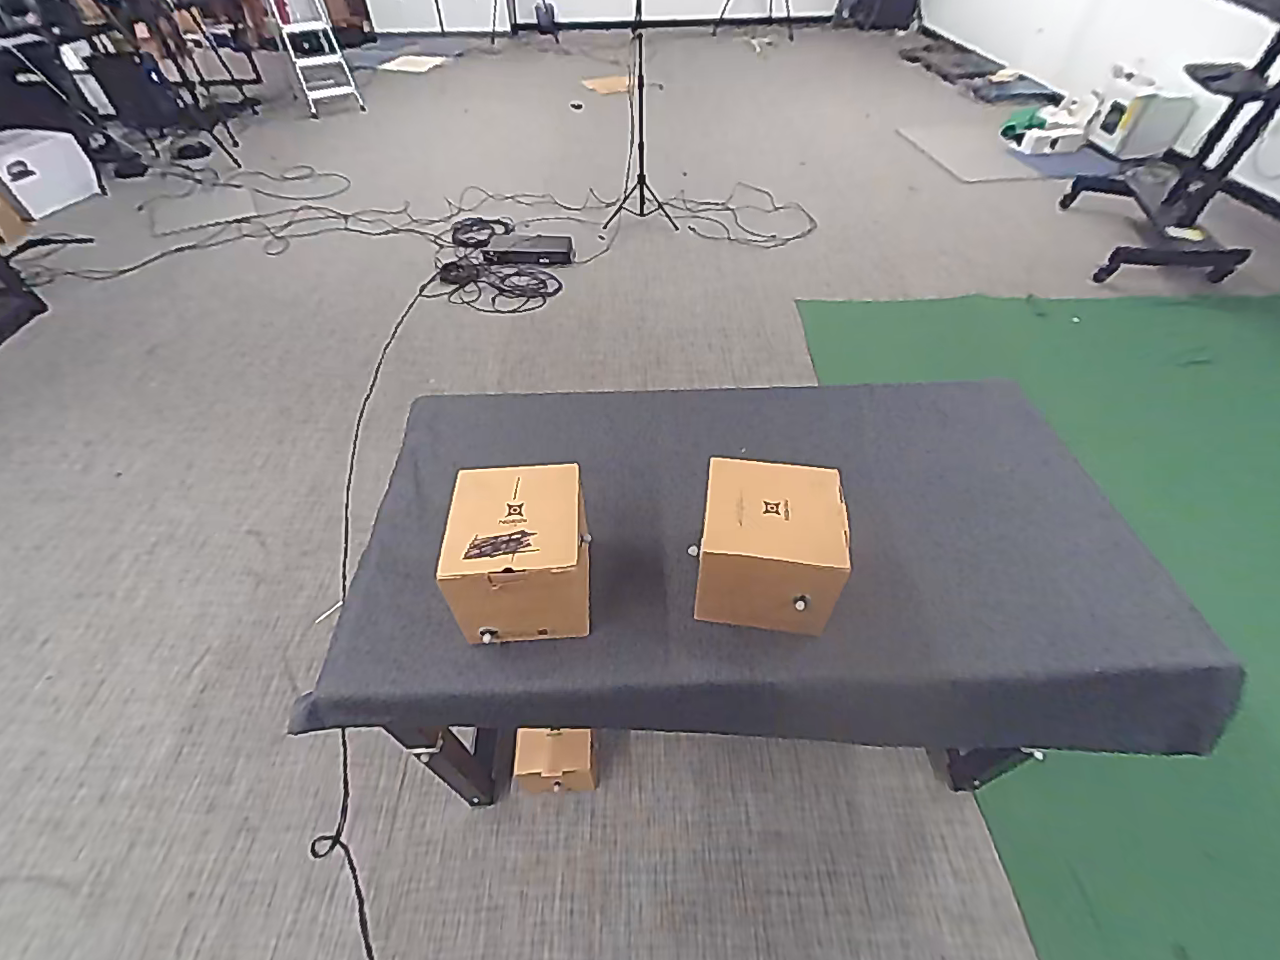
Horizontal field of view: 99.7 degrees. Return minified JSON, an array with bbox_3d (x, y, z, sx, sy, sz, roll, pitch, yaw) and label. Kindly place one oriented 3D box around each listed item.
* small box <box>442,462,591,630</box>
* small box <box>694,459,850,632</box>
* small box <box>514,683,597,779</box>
[{"bbox_3d":[-0.156,0.096,0.750,0.168,0.176,0.179,-2,47,-2],"label":"small box"},{"bbox_3d":[0.174,0.094,0.754,0.179,0.176,0.168,6,48,7],"label":"small box"},{"bbox_3d":[-0.191,0.599,1.282,0.168,0.176,0.179,-1,49,-1],"label":"small box"}]
